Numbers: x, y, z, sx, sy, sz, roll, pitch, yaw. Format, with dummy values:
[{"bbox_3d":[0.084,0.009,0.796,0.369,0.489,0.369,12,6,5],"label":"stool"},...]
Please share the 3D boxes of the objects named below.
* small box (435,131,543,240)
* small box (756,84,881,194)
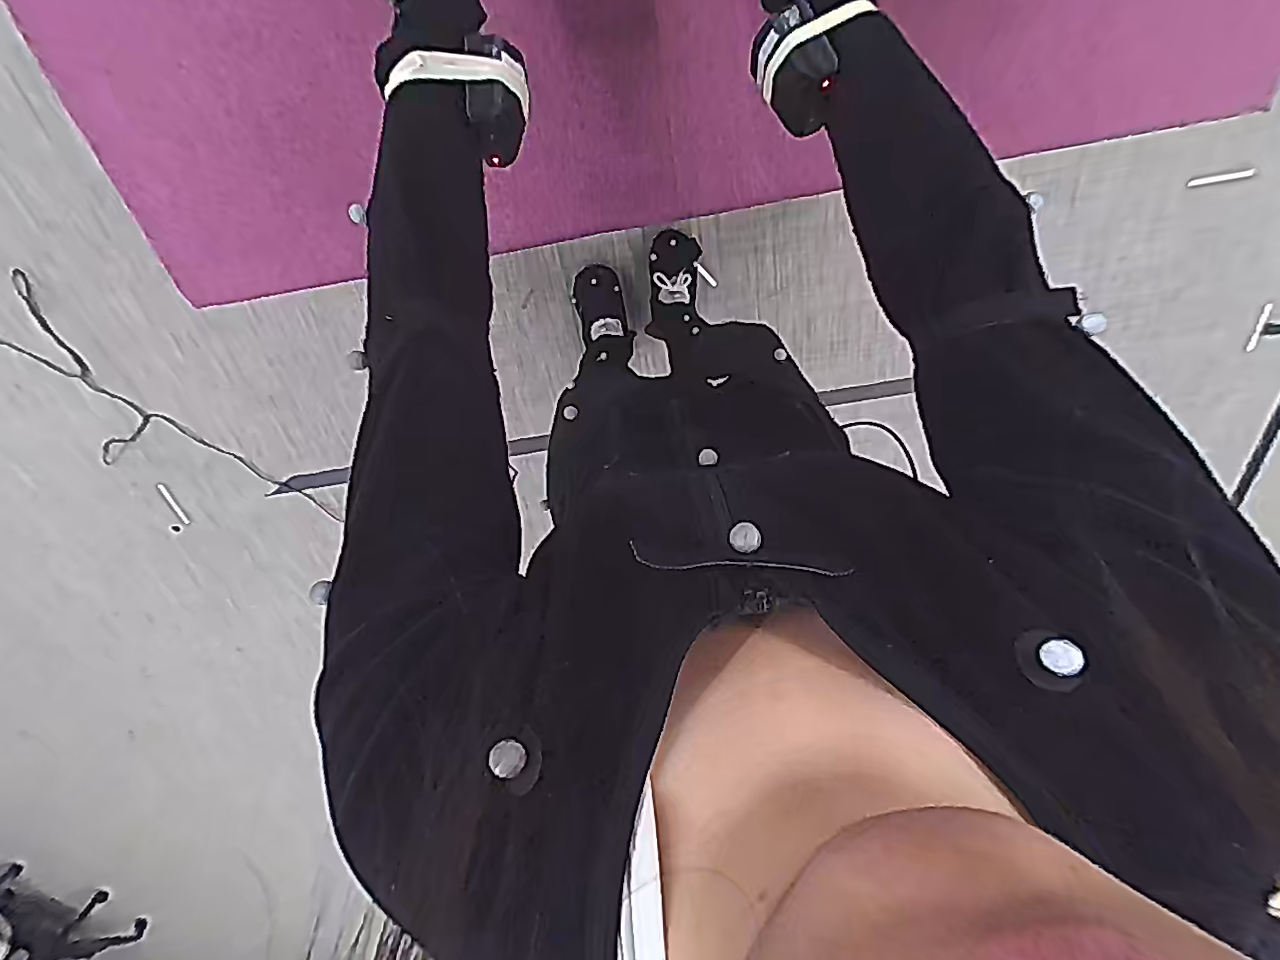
[{"bbox_3d":[-0.306,-0.615,1.135,0.168,0.176,0.179,-8,120,0],"label":"small box"},{"bbox_3d":[0.361,-0.709,1.128,0.179,0.176,0.168,5,122,-6],"label":"small box"}]
